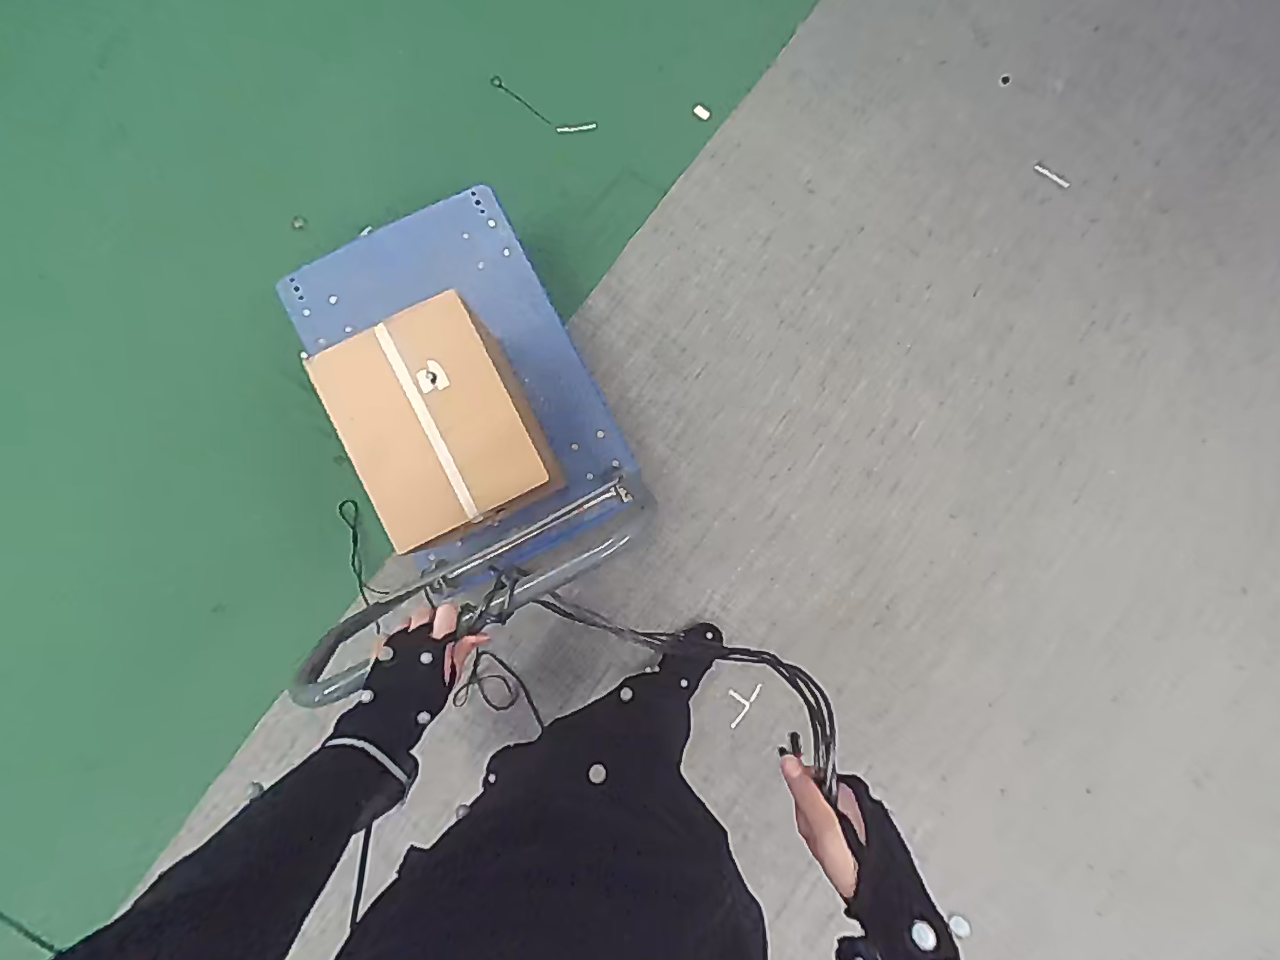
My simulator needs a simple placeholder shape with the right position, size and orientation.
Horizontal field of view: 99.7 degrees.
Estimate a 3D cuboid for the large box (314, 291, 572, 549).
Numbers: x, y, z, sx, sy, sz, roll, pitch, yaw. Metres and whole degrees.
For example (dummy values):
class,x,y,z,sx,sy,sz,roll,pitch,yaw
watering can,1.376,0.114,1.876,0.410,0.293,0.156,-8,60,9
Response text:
class,x,y,z,sx,sy,sz,roll,pitch,yaw
large box,-0.383,-0.108,1.152,0.320,0.320,0.408,-27,88,-3
